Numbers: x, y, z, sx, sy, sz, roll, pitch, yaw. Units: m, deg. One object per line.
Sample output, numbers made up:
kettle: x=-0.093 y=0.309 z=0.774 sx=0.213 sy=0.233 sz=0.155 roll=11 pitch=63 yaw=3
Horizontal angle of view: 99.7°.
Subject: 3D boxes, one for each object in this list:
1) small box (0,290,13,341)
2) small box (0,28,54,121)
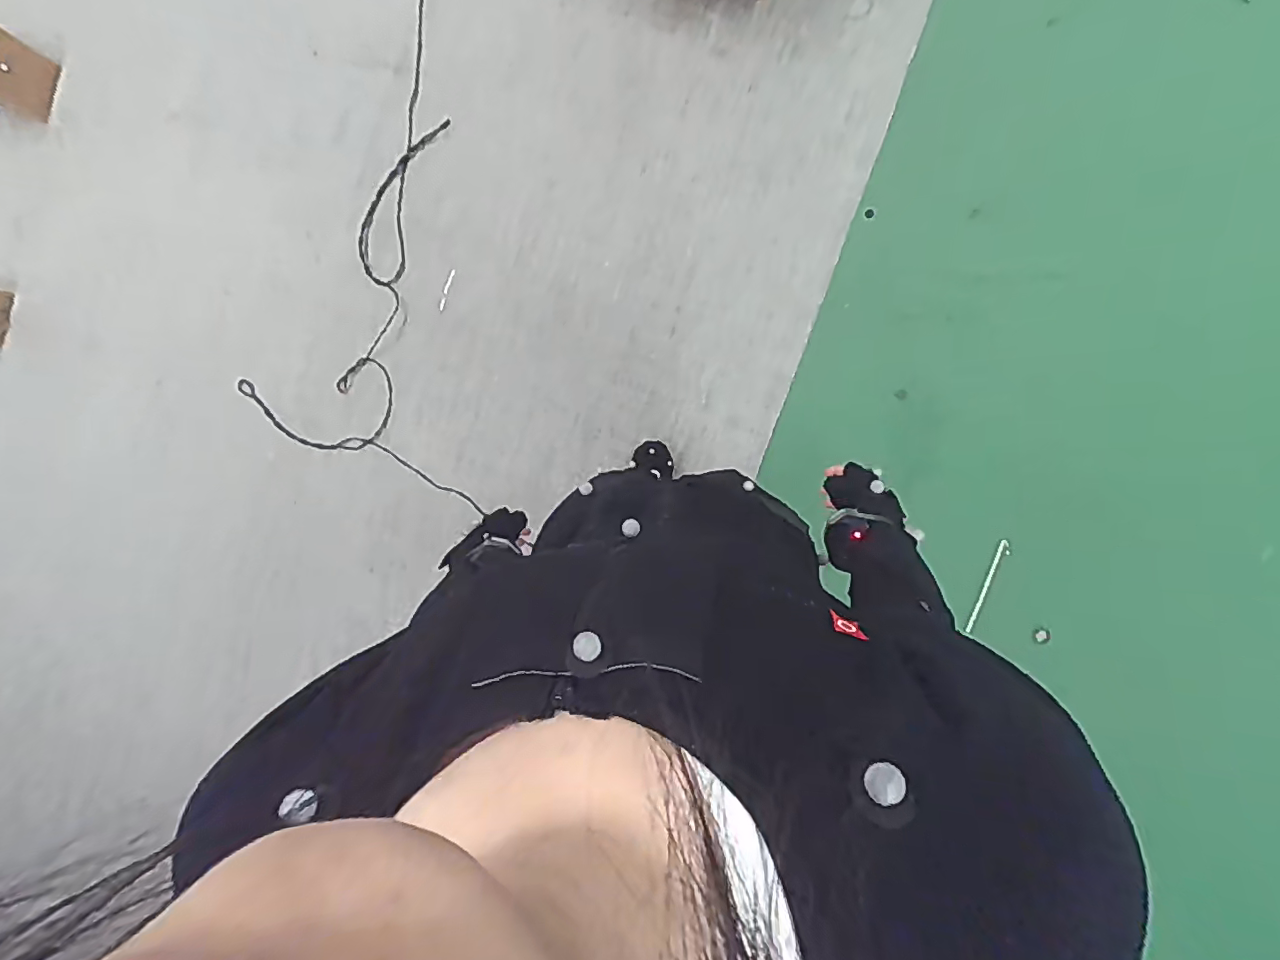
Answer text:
small box: x=-2.015 y=-0.509 z=1.573 sx=0.179 sy=0.176 sz=0.168 roll=18 pitch=95 yaw=4
small box: x=-1.823 y=-1.165 z=1.521 sx=0.168 sy=0.176 sz=0.179 roll=18 pitch=95 yaw=4
